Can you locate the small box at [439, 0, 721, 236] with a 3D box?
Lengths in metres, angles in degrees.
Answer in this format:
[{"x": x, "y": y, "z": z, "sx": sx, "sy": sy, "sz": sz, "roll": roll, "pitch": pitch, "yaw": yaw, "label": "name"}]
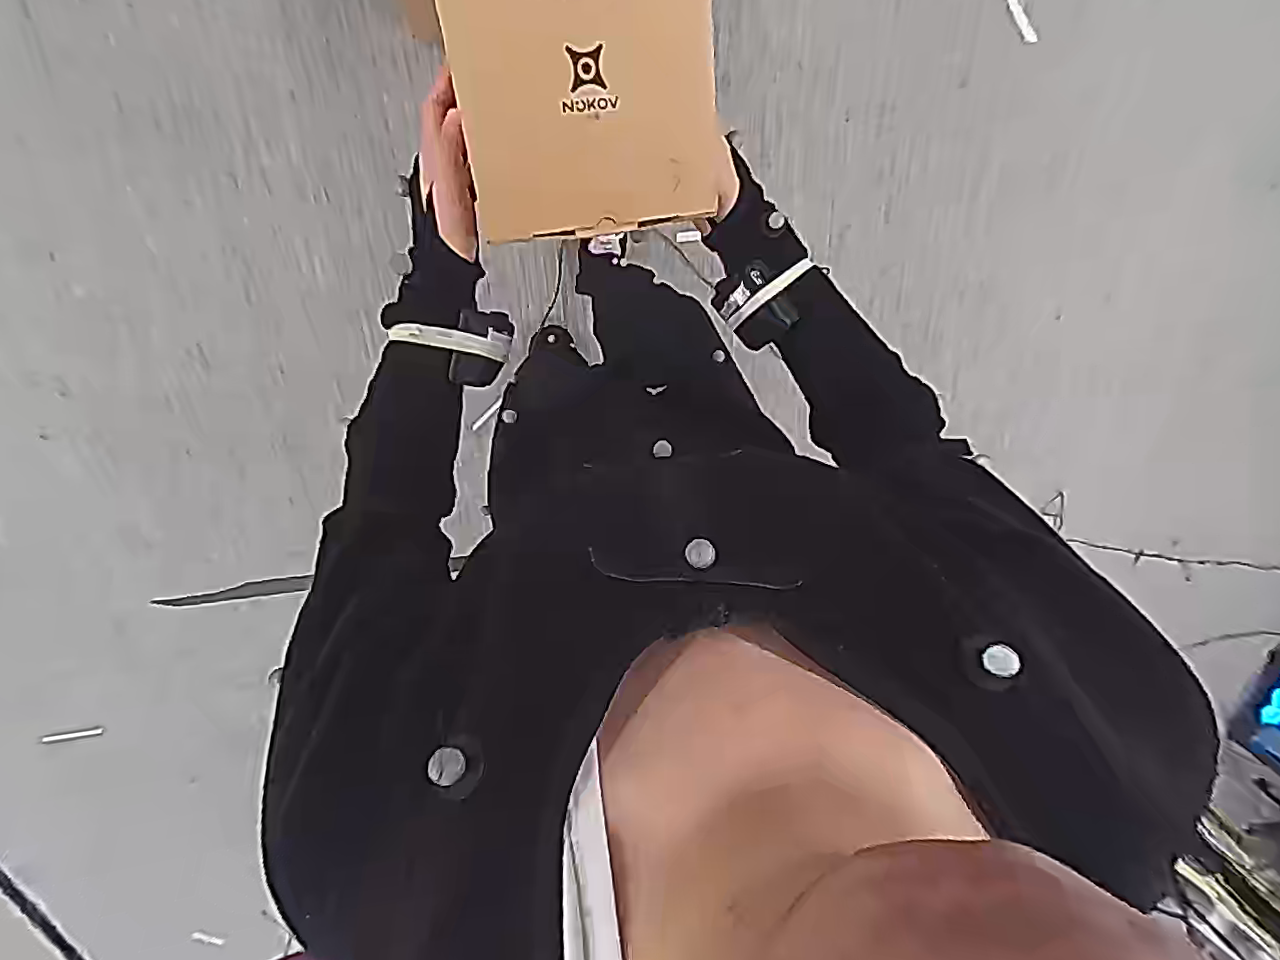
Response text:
[{"x": -0.047, "y": -0.289, "z": 0.401, "sx": 0.168, "sy": 0.176, "sz": 0.179, "roll": -12, "pitch": 117, "yaw": -8, "label": "small box"}]
